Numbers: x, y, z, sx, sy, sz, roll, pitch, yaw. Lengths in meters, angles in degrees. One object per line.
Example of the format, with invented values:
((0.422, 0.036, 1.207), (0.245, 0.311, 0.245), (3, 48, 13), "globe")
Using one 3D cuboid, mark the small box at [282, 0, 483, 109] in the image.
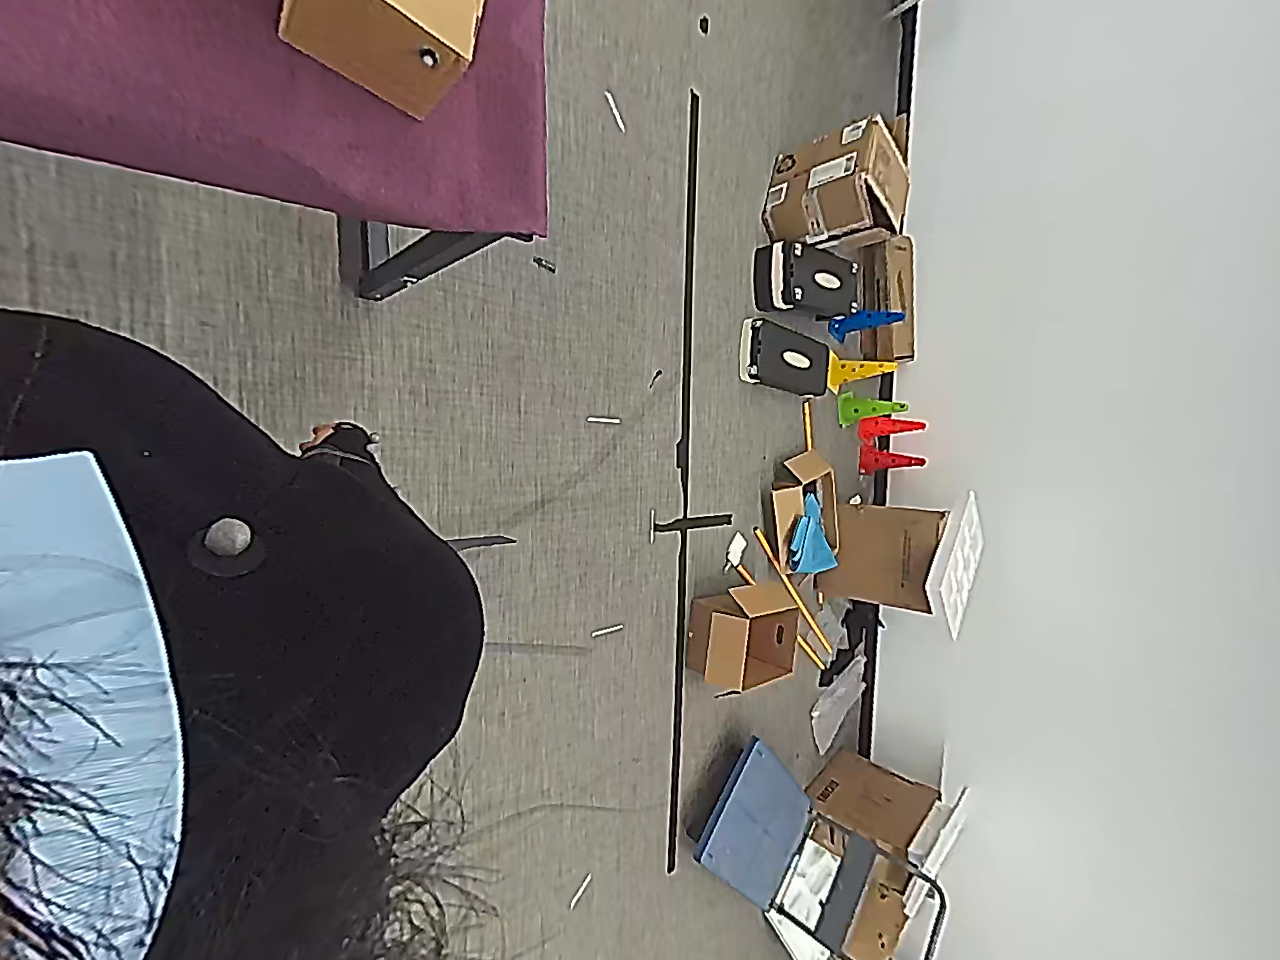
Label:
((-0.304, -0.594, 0.645), (0.179, 0.176, 0.168), (10, 87, -44), "small box")
